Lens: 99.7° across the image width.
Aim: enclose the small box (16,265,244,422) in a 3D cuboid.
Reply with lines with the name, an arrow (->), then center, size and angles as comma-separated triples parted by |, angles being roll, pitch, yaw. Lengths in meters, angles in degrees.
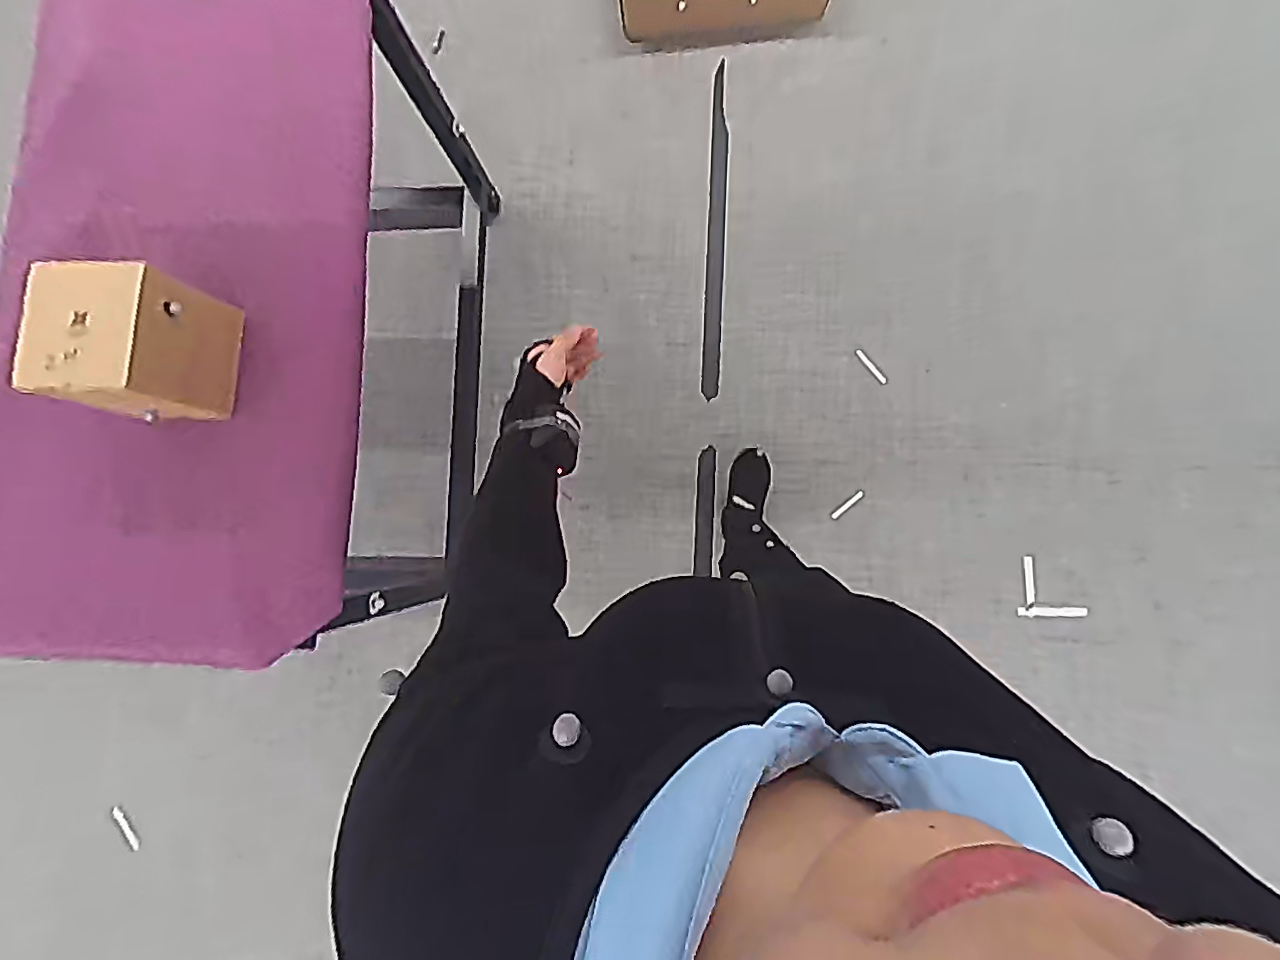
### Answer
small box -> -0.724, -0.190, 0.788 | 0.168, 0.176, 0.179 | 2, 84, 5
